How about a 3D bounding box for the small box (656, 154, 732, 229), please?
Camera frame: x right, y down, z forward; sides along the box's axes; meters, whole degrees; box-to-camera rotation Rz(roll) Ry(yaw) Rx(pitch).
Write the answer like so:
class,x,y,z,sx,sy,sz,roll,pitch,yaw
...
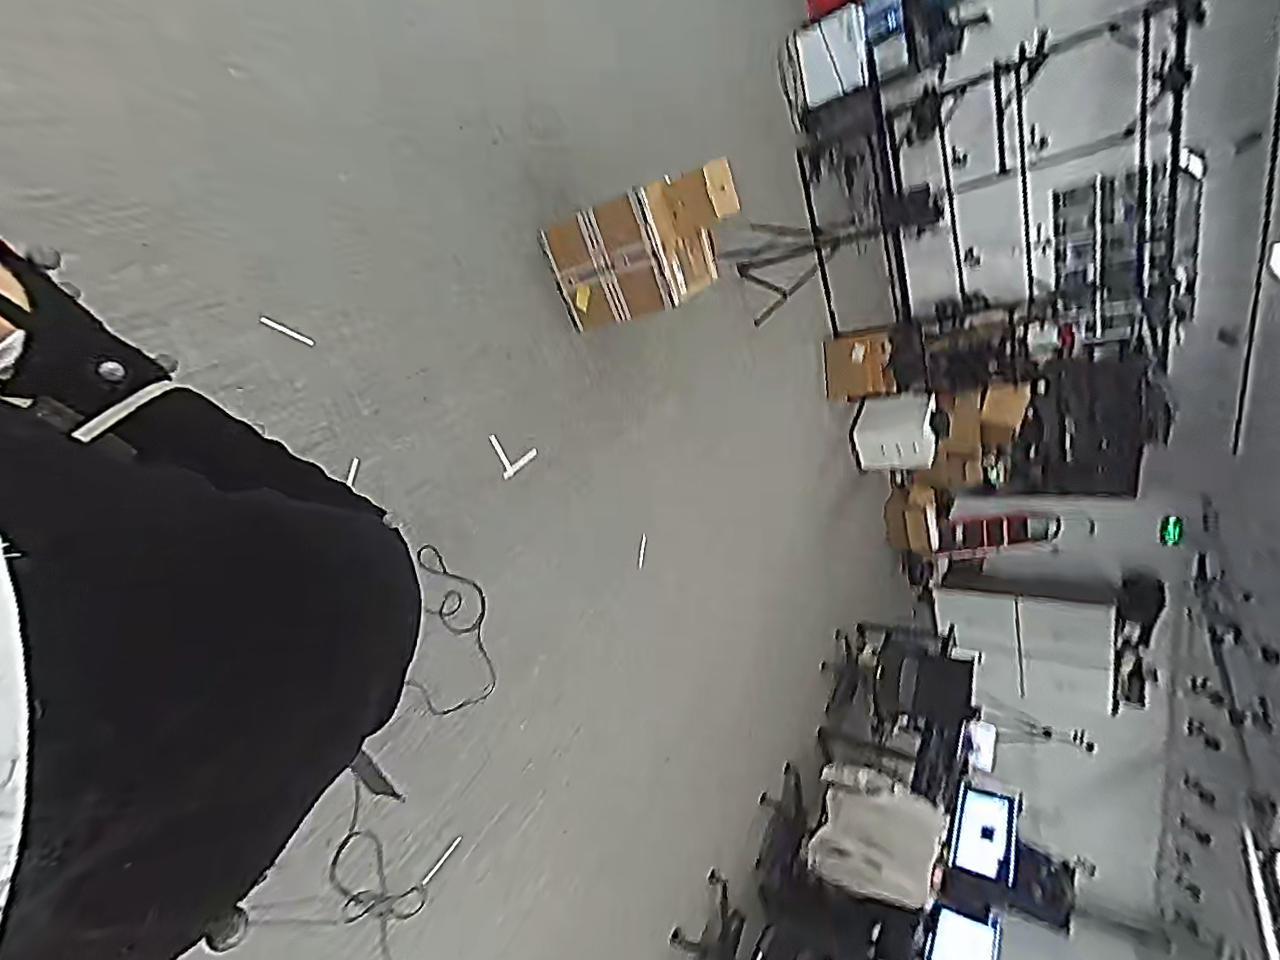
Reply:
class,x,y,z,sx,sy,sz,roll,pitch,yaw
small box,0.181,-0.973,1.825,0.179,0.176,0.168,-43,120,-40
